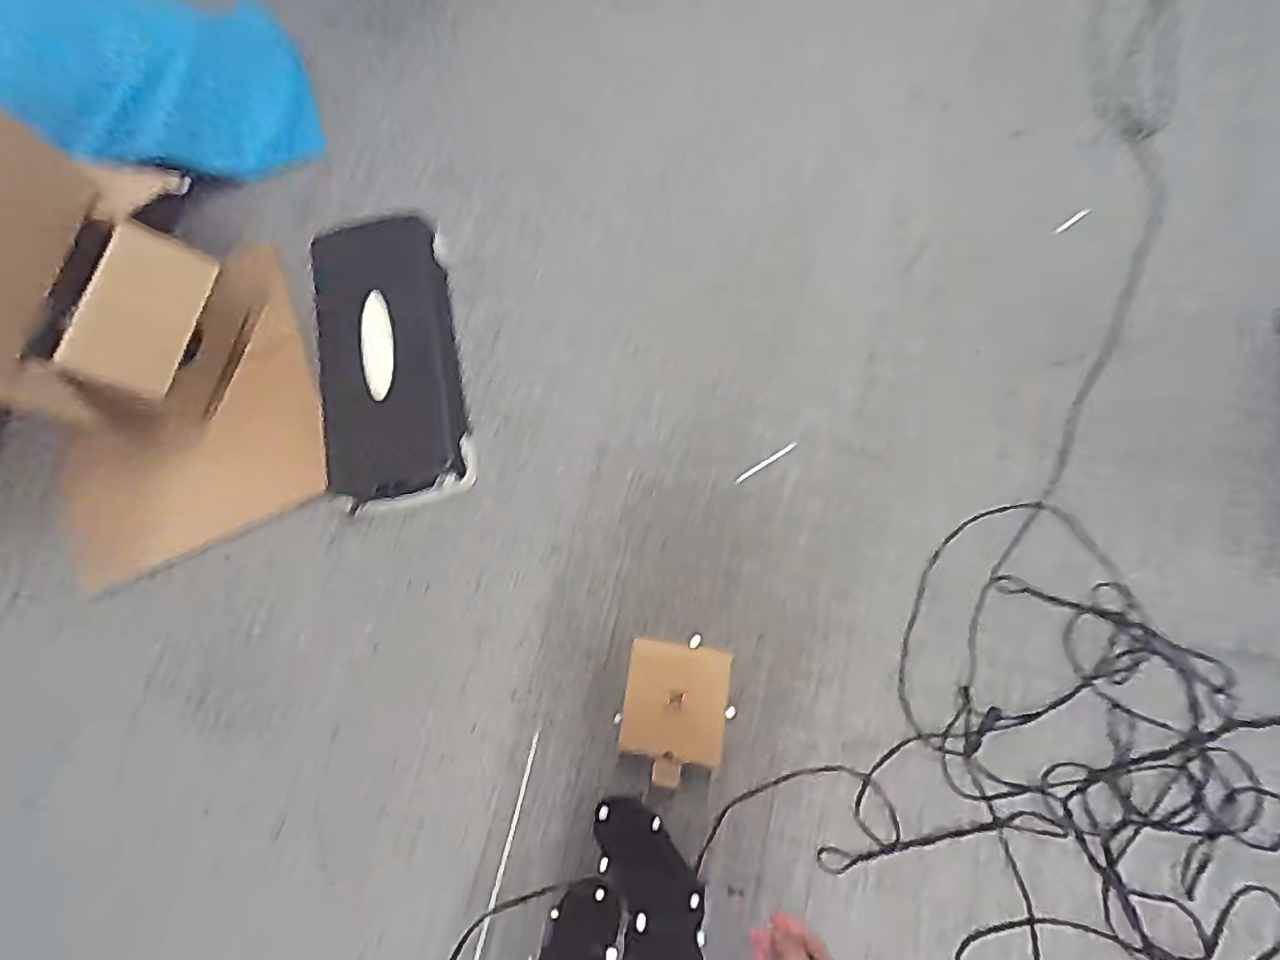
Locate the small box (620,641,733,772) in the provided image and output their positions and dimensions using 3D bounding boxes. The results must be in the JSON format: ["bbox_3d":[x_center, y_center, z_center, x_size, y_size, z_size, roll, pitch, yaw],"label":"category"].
[{"bbox_3d":[0.065,0.384,0.950,0.168,0.176,0.179,7,77,6],"label":"small box"}]
